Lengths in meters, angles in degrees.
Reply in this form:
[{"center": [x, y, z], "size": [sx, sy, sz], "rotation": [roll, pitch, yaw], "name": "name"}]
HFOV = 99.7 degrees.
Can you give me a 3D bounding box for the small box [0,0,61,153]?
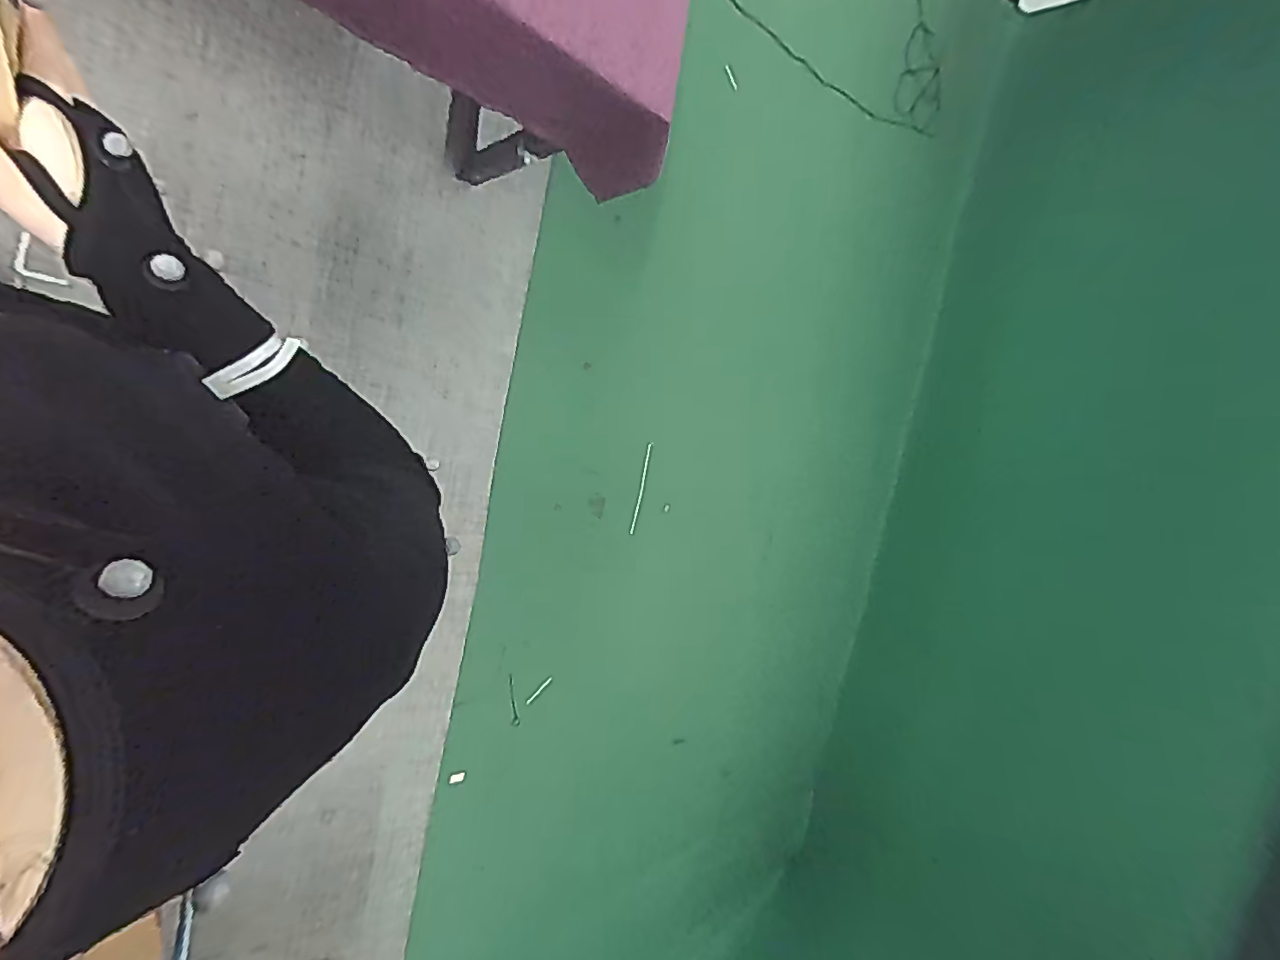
[{"center": [-0.411, -0.298, 0.253], "size": [0.168, 0.176, 0.179], "rotation": [-4, 135, -38], "name": "small box"}]
